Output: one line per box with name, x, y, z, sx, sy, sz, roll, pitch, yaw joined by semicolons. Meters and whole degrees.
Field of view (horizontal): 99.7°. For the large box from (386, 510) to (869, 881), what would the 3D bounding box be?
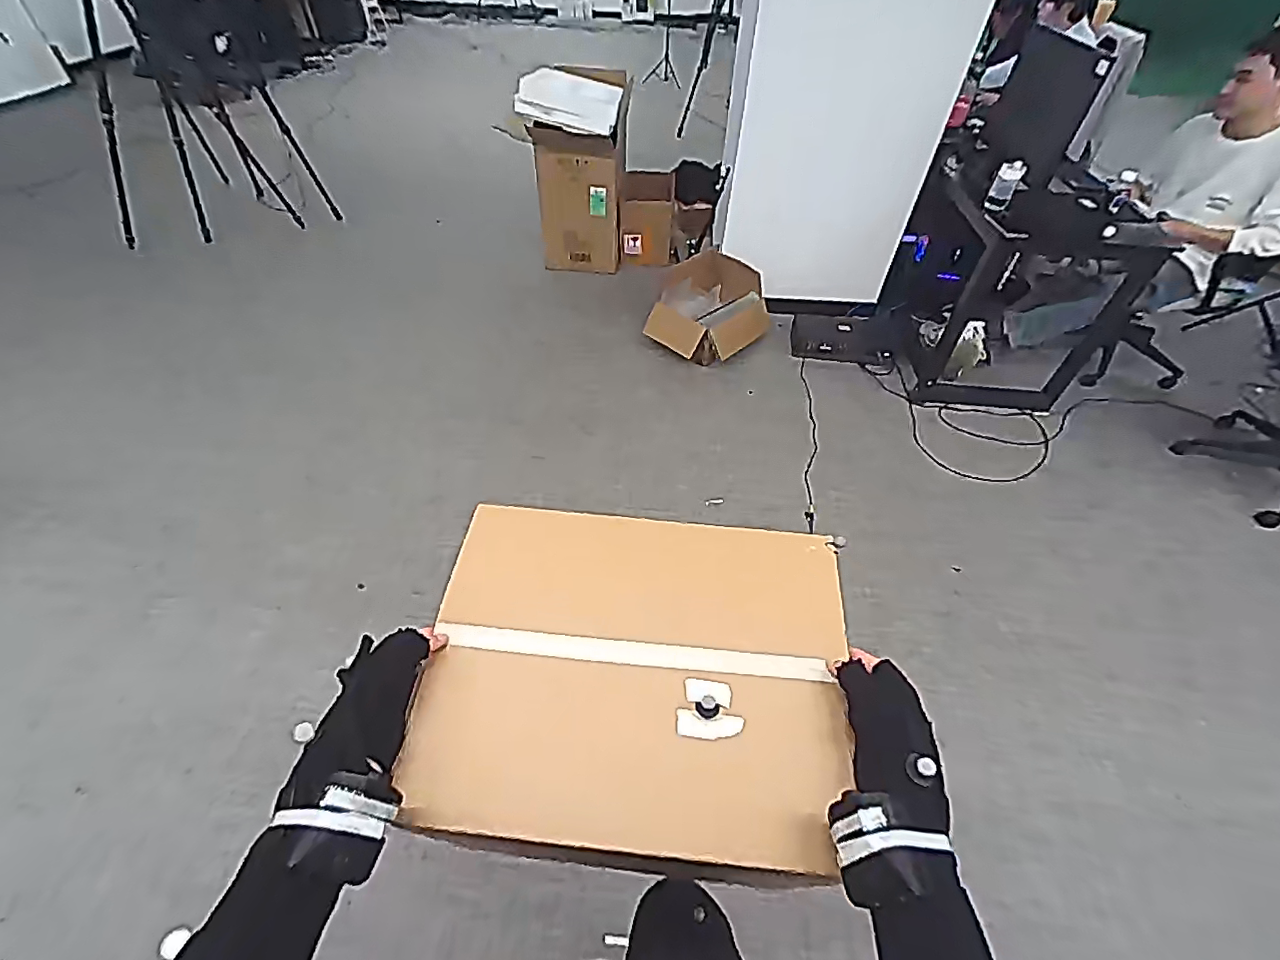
large box;-0.006;0.261;0.643;0.408;0.320;0.320;6;52;2
